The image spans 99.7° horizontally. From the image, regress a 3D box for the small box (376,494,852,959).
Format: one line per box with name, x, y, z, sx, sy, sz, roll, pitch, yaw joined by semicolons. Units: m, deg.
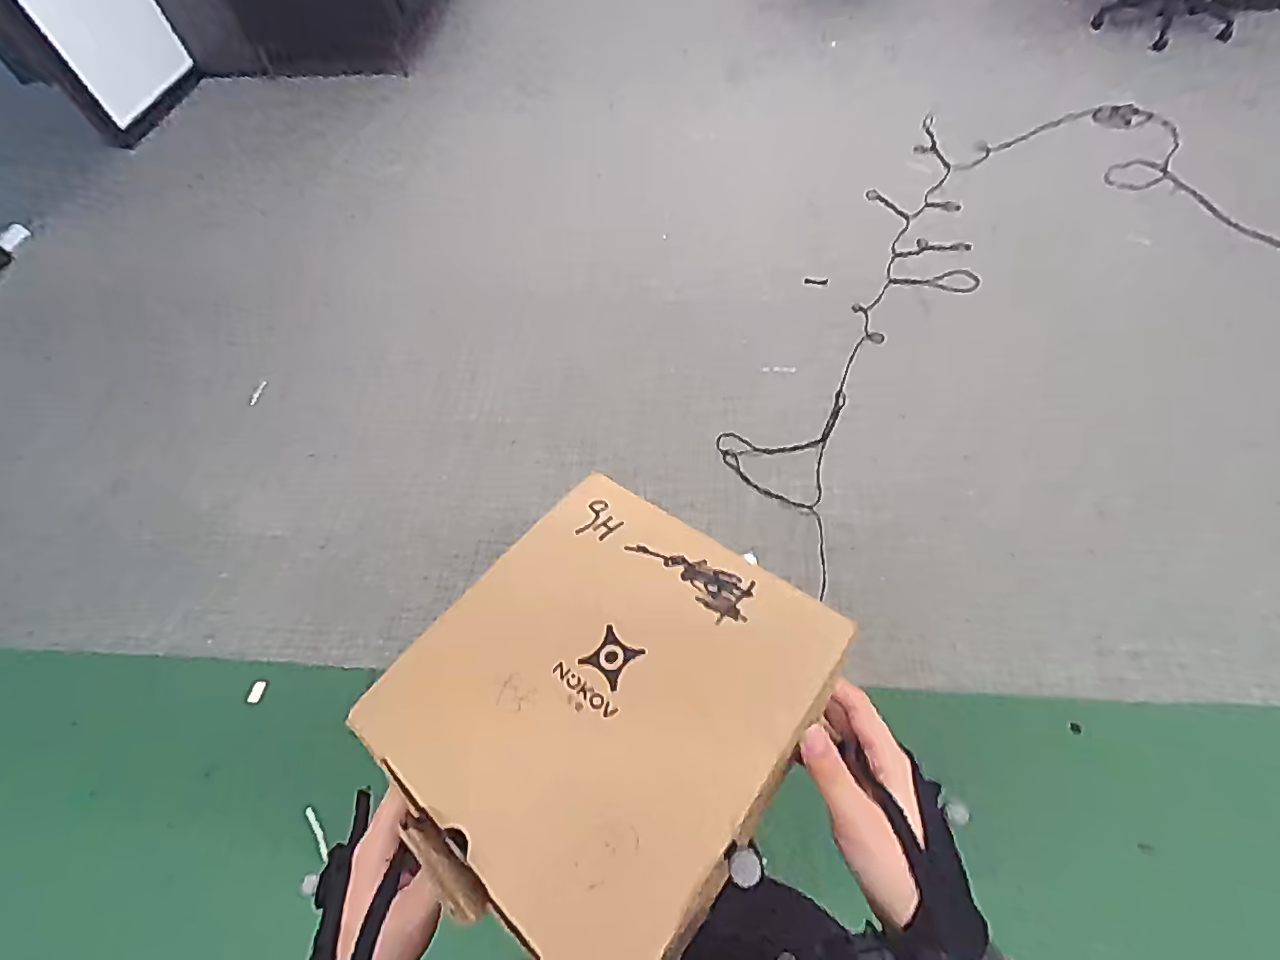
small box;-0.002;0.148;0.317;0.168;0.176;0.179;29;62;28
